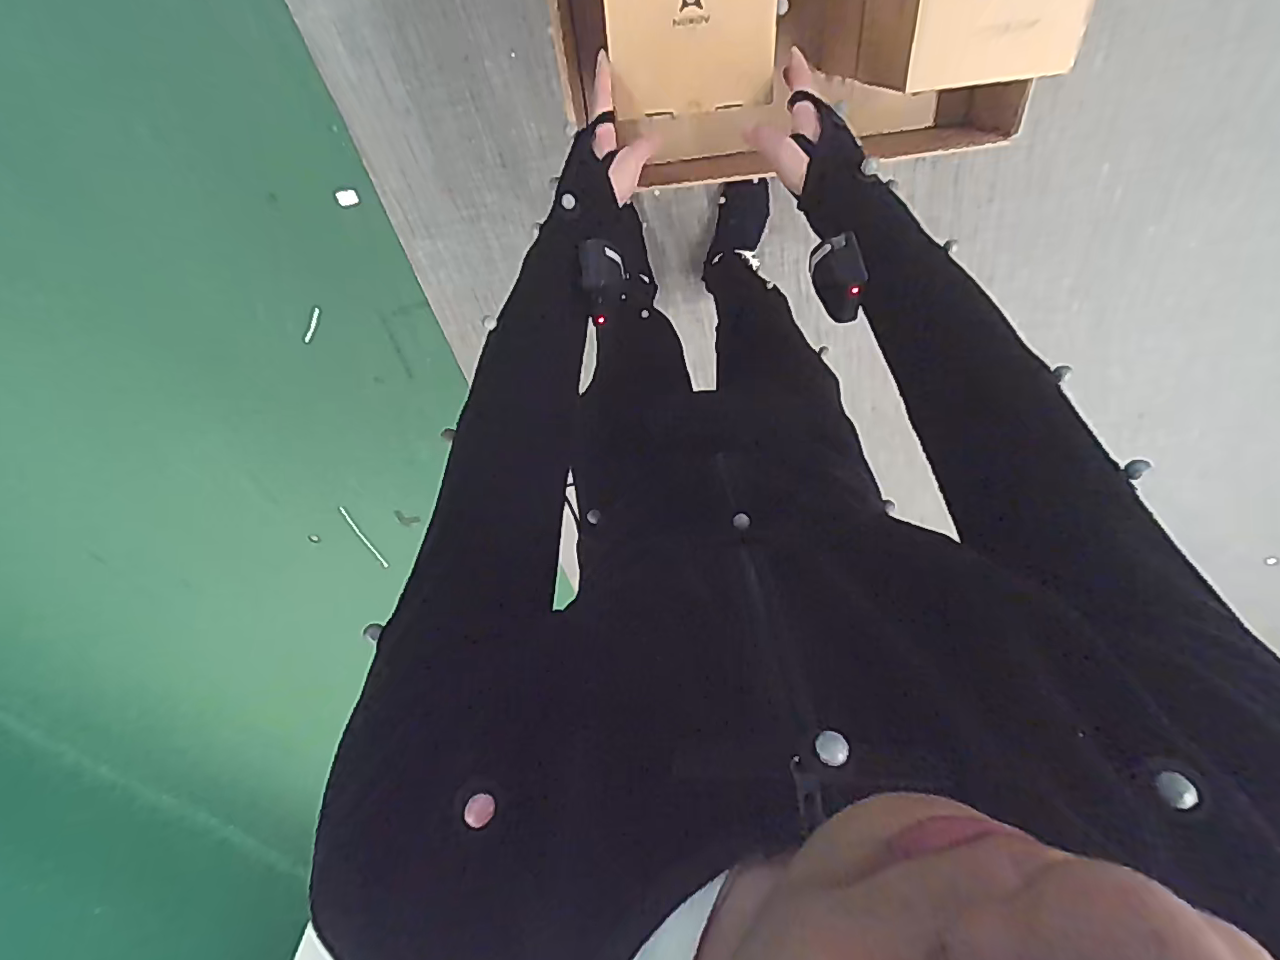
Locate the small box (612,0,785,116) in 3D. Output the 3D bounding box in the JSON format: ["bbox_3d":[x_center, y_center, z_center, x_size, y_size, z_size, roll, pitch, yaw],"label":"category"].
[{"bbox_3d":[0.054,-0.502,0.571,0.168,0.176,0.179,-4,129,3],"label":"small box"}]

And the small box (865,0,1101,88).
[{"bbox_3d":[0.347,-0.520,0.553,0.168,0.176,0.179,-4,129,4],"label":"small box"}]

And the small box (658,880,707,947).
[{"bbox_3d":[0.167,1.721,2.148,0.168,0.176,0.179,-12,126,7],"label":"small box"}]
